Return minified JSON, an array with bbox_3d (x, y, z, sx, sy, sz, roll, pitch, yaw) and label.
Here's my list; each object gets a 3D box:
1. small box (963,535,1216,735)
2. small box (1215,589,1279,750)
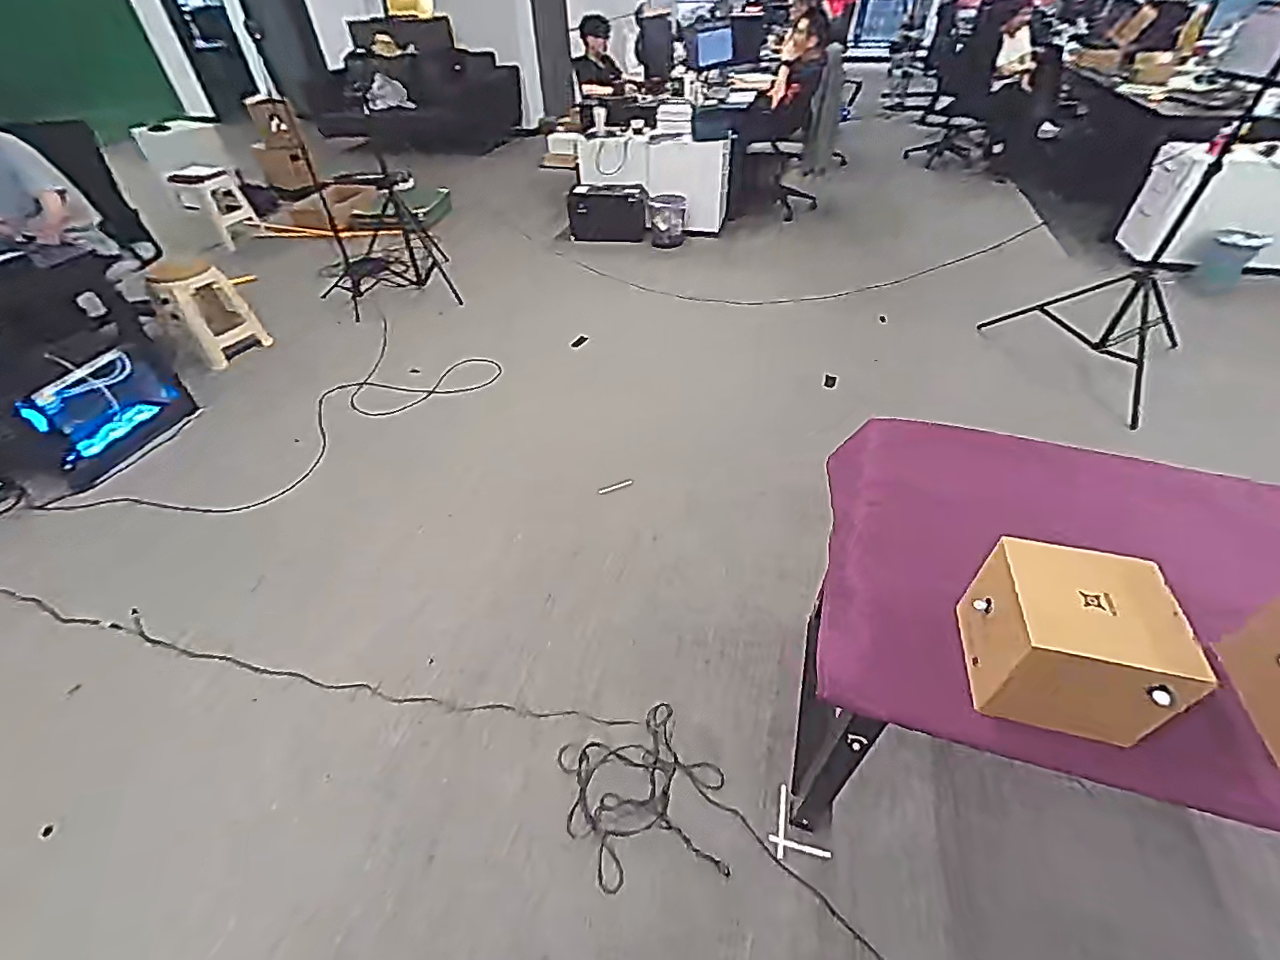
[{"bbox_3d":[0.534,0.197,0.684,0.179,0.176,0.168,9,45,11],"label":"small box"},{"bbox_3d":[0.853,0.238,0.626,0.168,0.176,0.179,9,44,11],"label":"small box"}]
